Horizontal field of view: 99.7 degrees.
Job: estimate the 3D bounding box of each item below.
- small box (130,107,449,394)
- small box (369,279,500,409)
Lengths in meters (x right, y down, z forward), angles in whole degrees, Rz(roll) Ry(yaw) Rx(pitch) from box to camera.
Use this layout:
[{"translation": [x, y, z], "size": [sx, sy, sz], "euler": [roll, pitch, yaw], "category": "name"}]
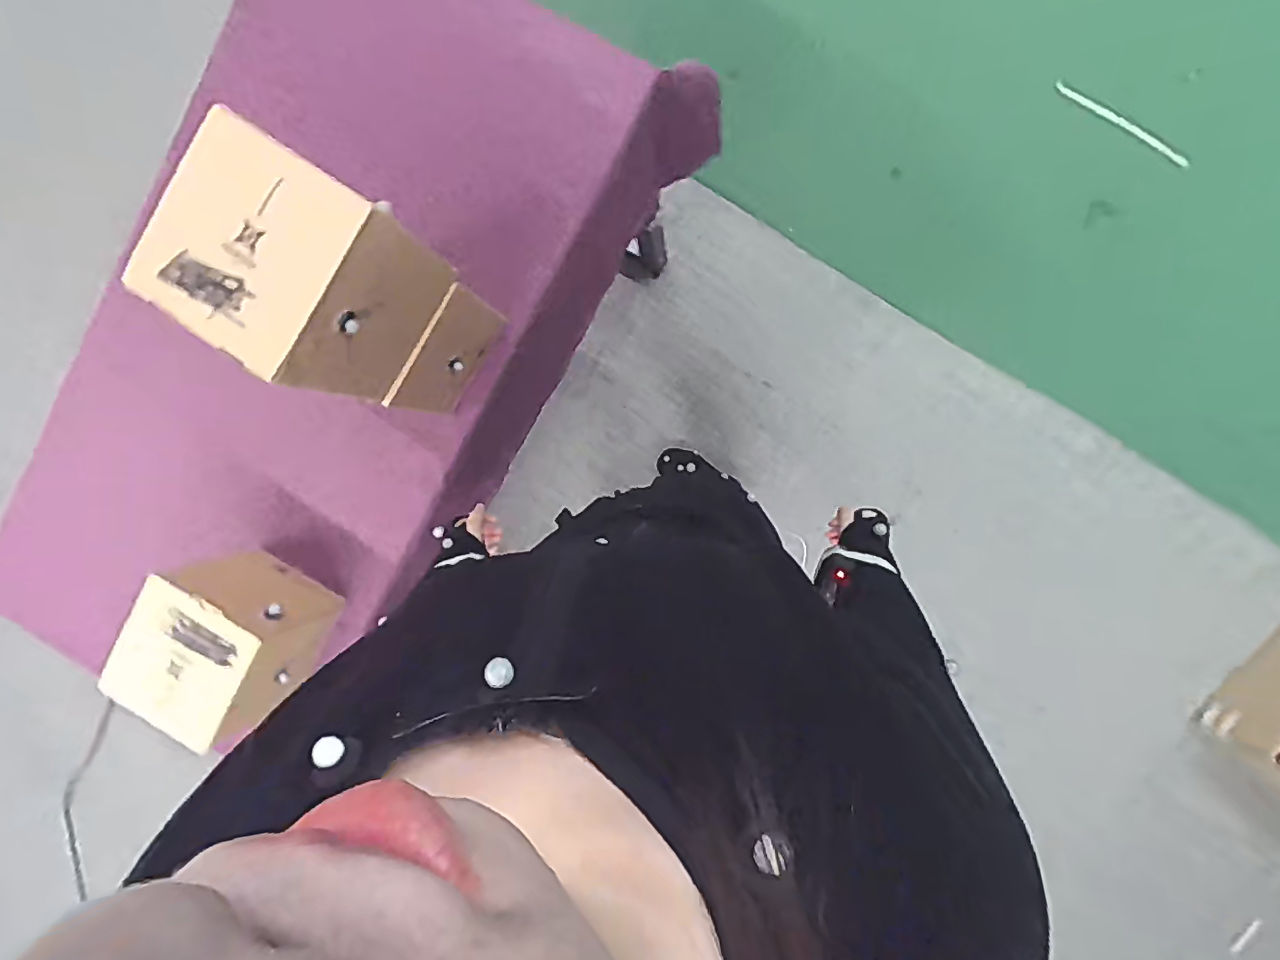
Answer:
[{"translation": [-0.323, -0.202, 0.537], "size": [0.168, 0.176, 0.179], "euler": [34, 95, 2], "category": "small box"}, {"translation": [-0.311, -0.204, 0.701], "size": [0.179, 0.176, 0.168], "euler": [33, 95, 3], "category": "small box"}]
